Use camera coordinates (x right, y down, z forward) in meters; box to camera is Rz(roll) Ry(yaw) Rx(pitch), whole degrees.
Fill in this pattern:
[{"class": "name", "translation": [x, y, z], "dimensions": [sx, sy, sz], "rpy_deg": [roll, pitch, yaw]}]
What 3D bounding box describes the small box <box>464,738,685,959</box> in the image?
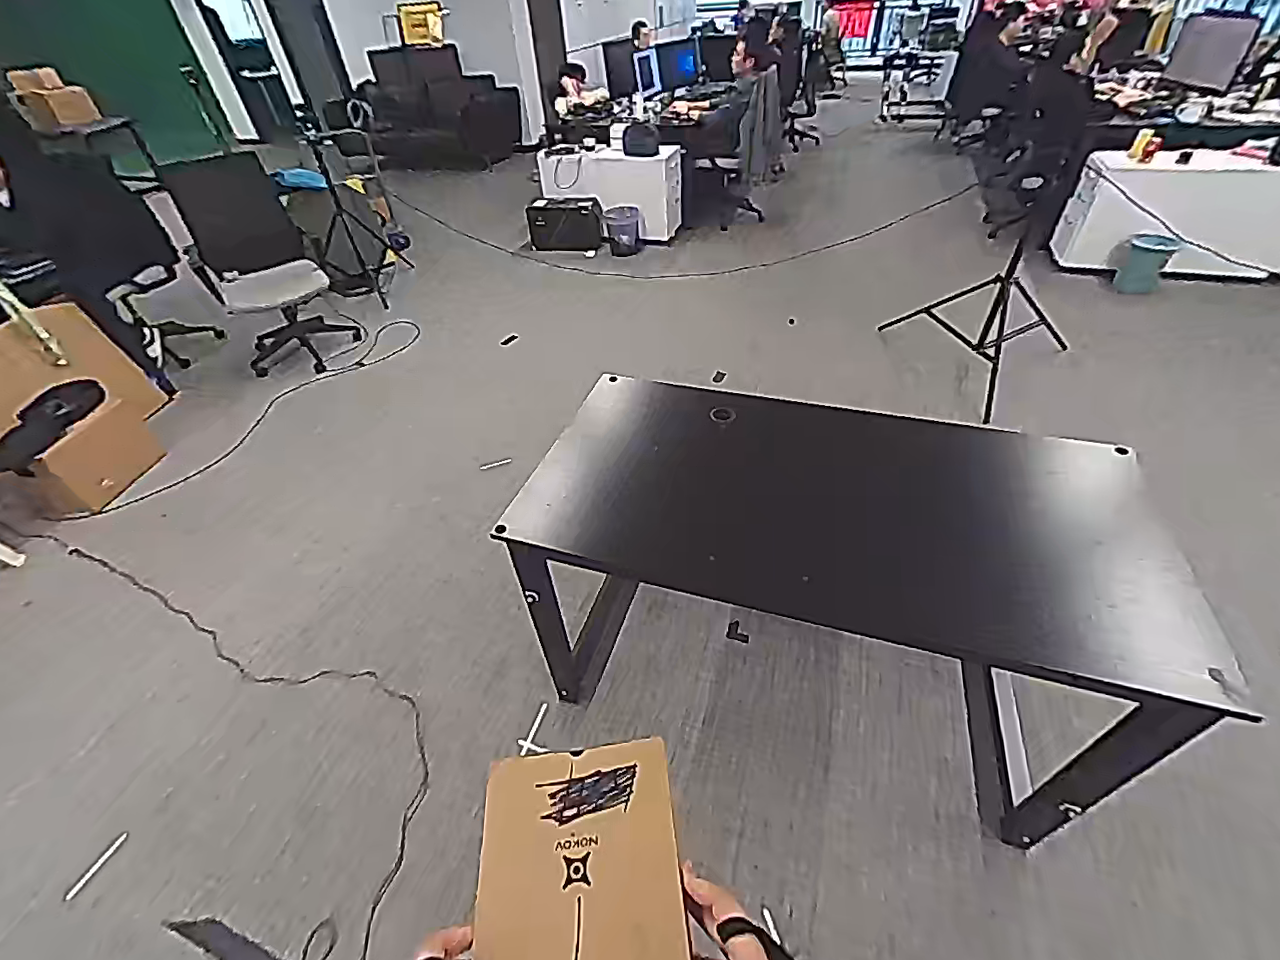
[{"class": "small box", "translation": [-0.048, 0.370, 0.505], "dimensions": [0.168, 0.176, 0.179], "rpy_deg": [-7, 42, 1]}]
